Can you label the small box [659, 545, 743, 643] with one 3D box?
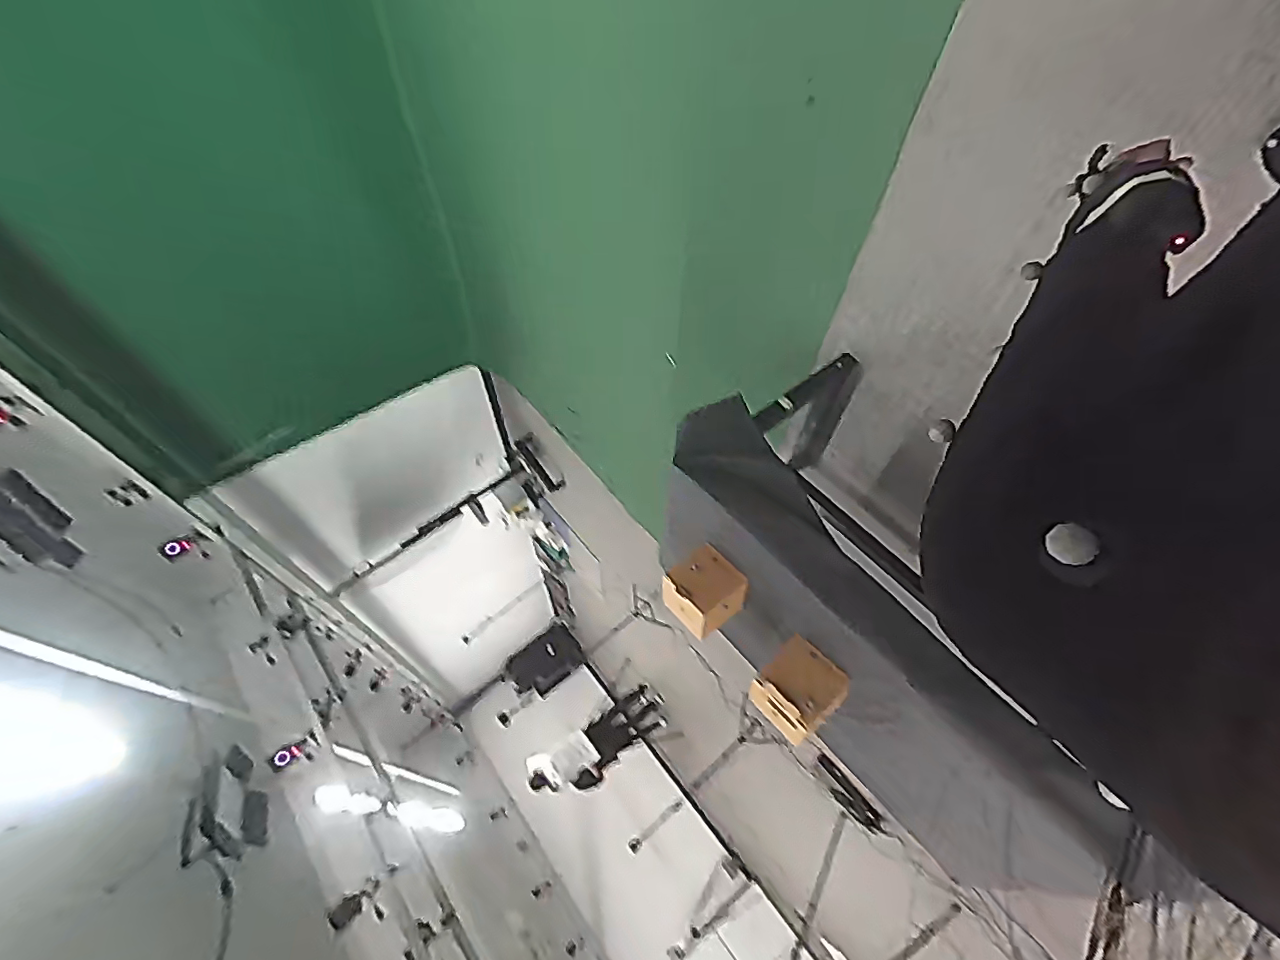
[{"bbox_3d":[0.172,0.316,1.514,0.168,0.176,0.179,43,155,32],"label":"small box"}]
